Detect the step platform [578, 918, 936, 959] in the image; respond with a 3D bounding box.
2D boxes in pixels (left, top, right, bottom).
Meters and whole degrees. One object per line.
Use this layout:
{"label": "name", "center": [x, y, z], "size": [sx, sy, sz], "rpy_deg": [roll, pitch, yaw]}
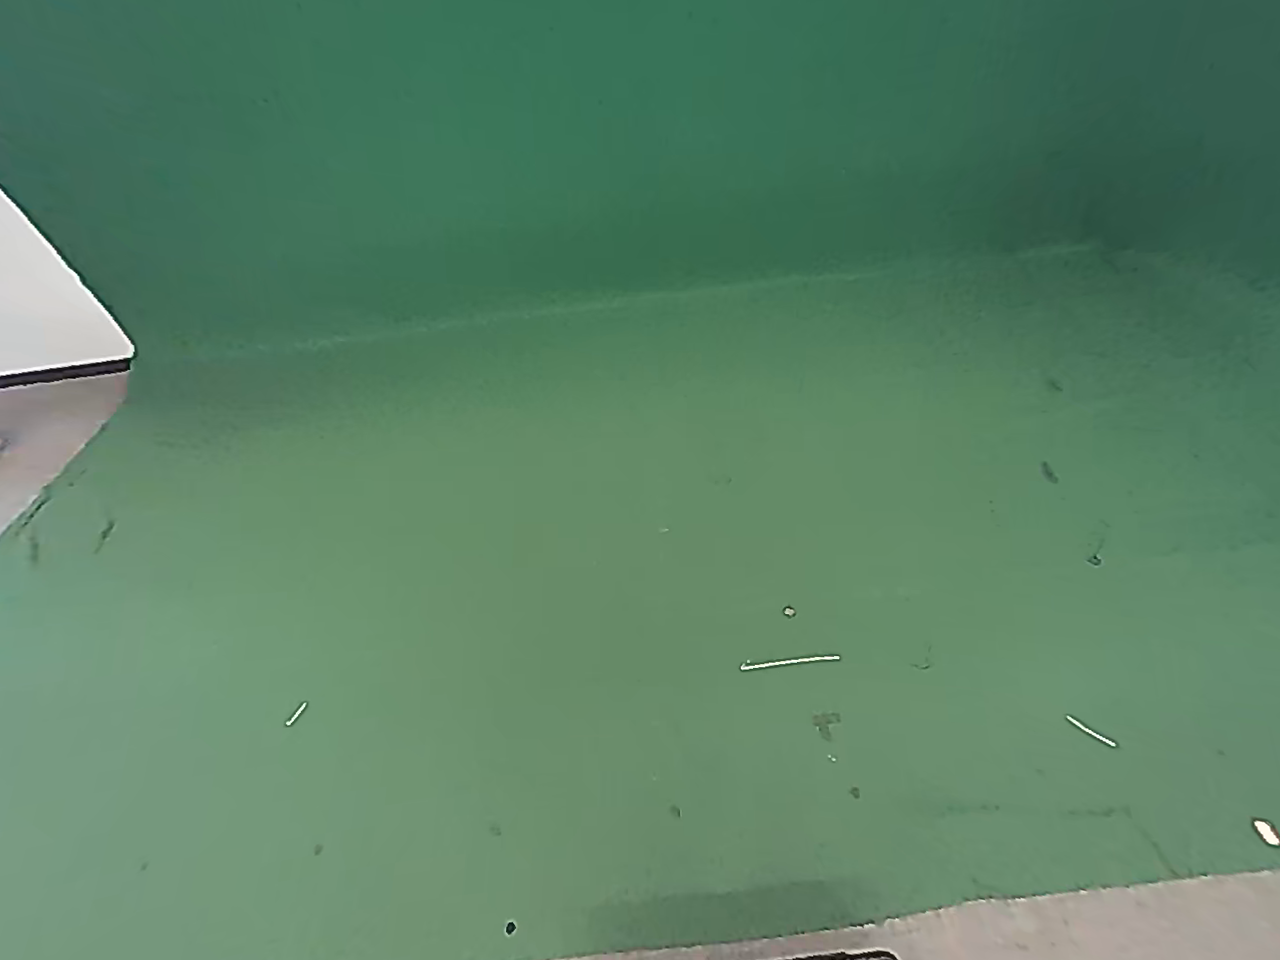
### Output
{"label": "step platform", "center": [0.200, 0.996, 0.952], "size": [0.684, 0.204, 0.286], "rpy_deg": [-8, 47, 1]}
